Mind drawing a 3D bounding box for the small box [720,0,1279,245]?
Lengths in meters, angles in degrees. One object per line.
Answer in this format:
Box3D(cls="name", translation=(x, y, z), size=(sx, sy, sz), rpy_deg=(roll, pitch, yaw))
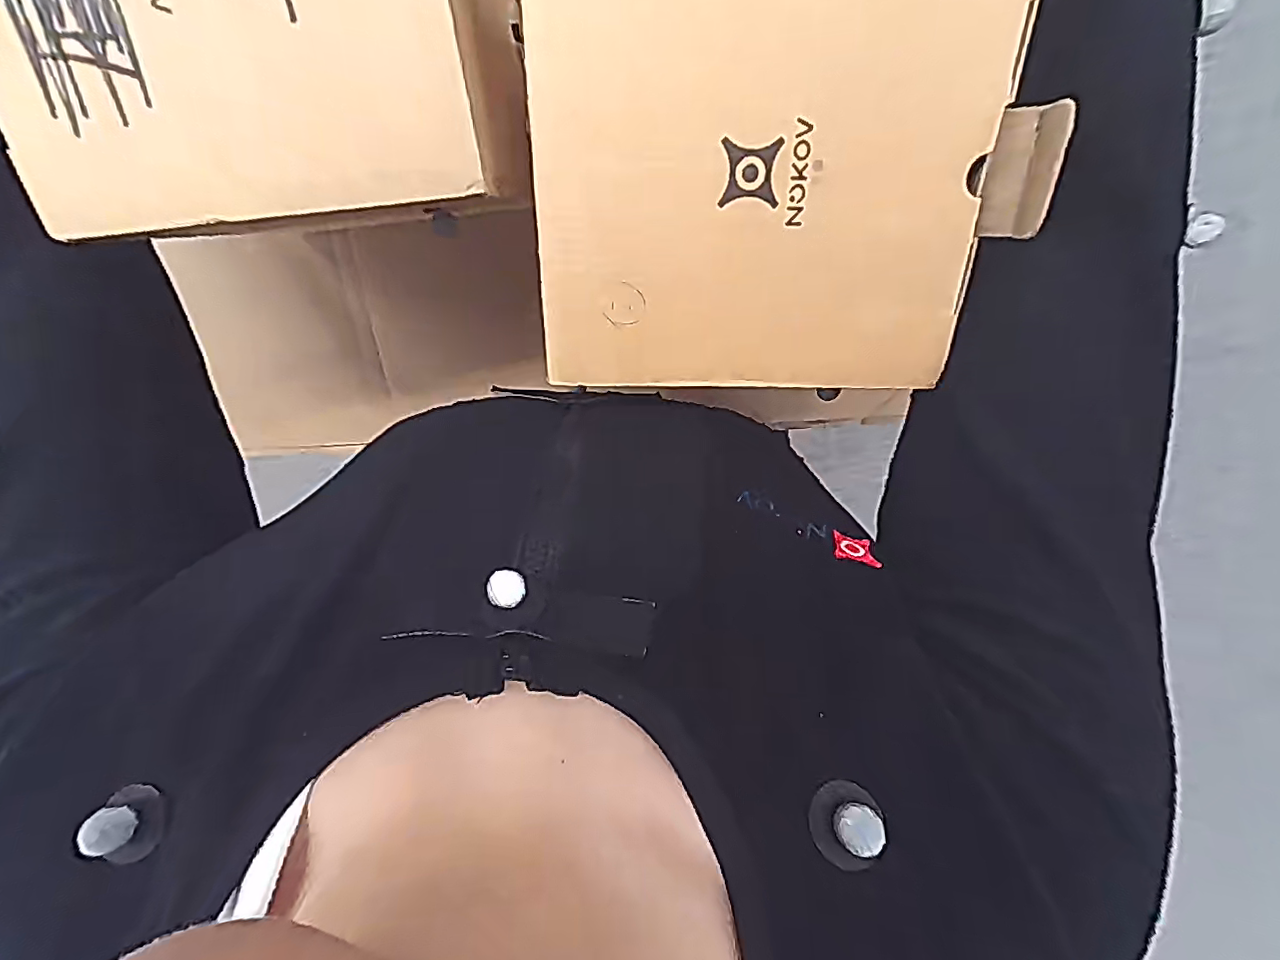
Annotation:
Box3D(cls="small box", translation=(0.144, -0.218, 0.230), size=(0.179, 0.176, 0.168), rpy_deg=(12, 125, -6))
